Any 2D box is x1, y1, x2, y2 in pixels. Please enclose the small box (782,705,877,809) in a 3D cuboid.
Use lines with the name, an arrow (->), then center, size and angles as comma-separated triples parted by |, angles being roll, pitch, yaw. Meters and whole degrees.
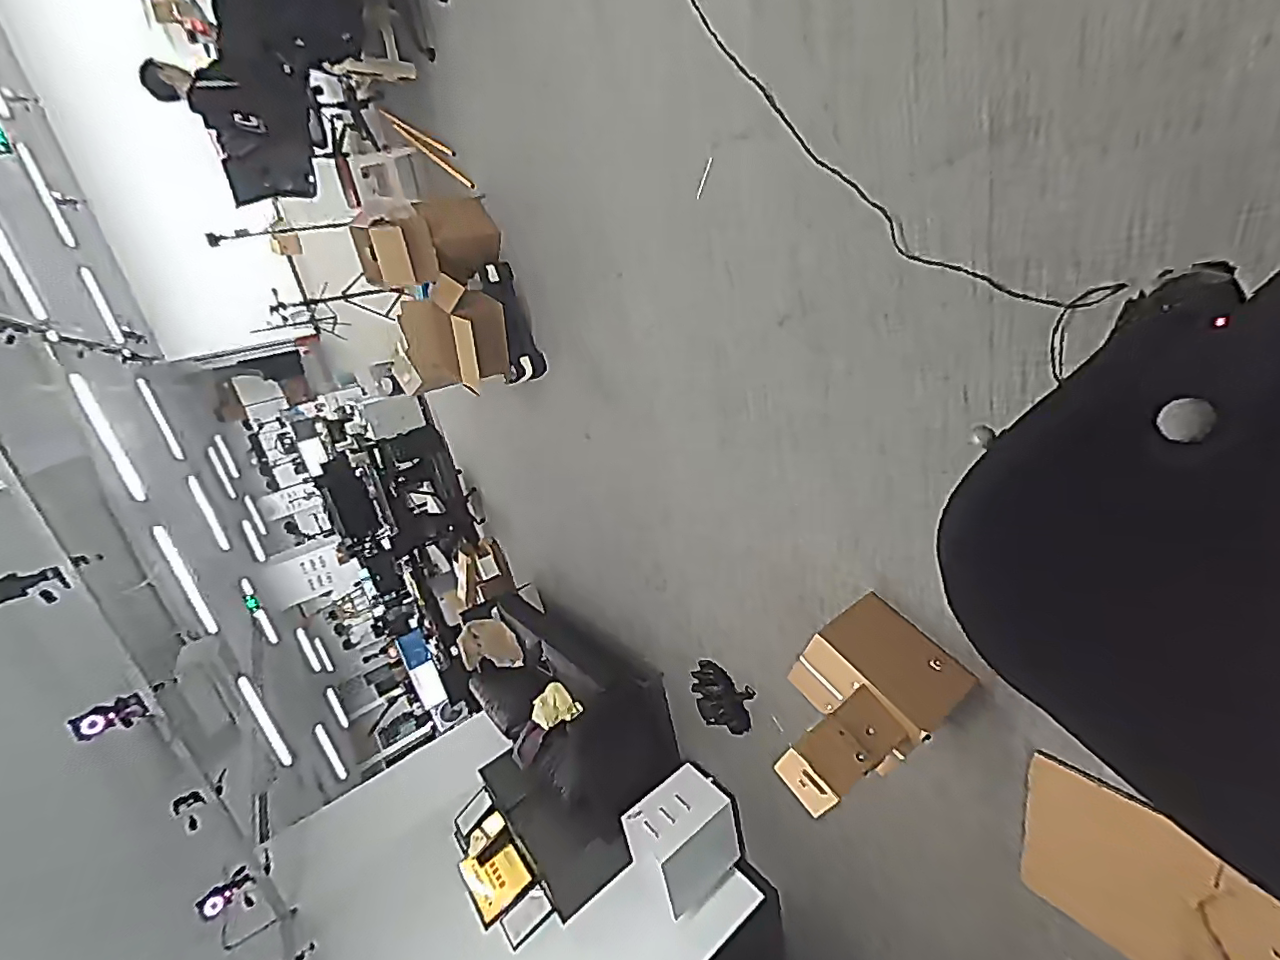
small box -> 0.539, 0.779, 1.533 | 0.168, 0.176, 0.179 | 43, 142, 33

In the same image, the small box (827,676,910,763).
small box -> 0.669, 0.729, 1.627 | 0.179, 0.176, 0.168 | 48, 147, 29
